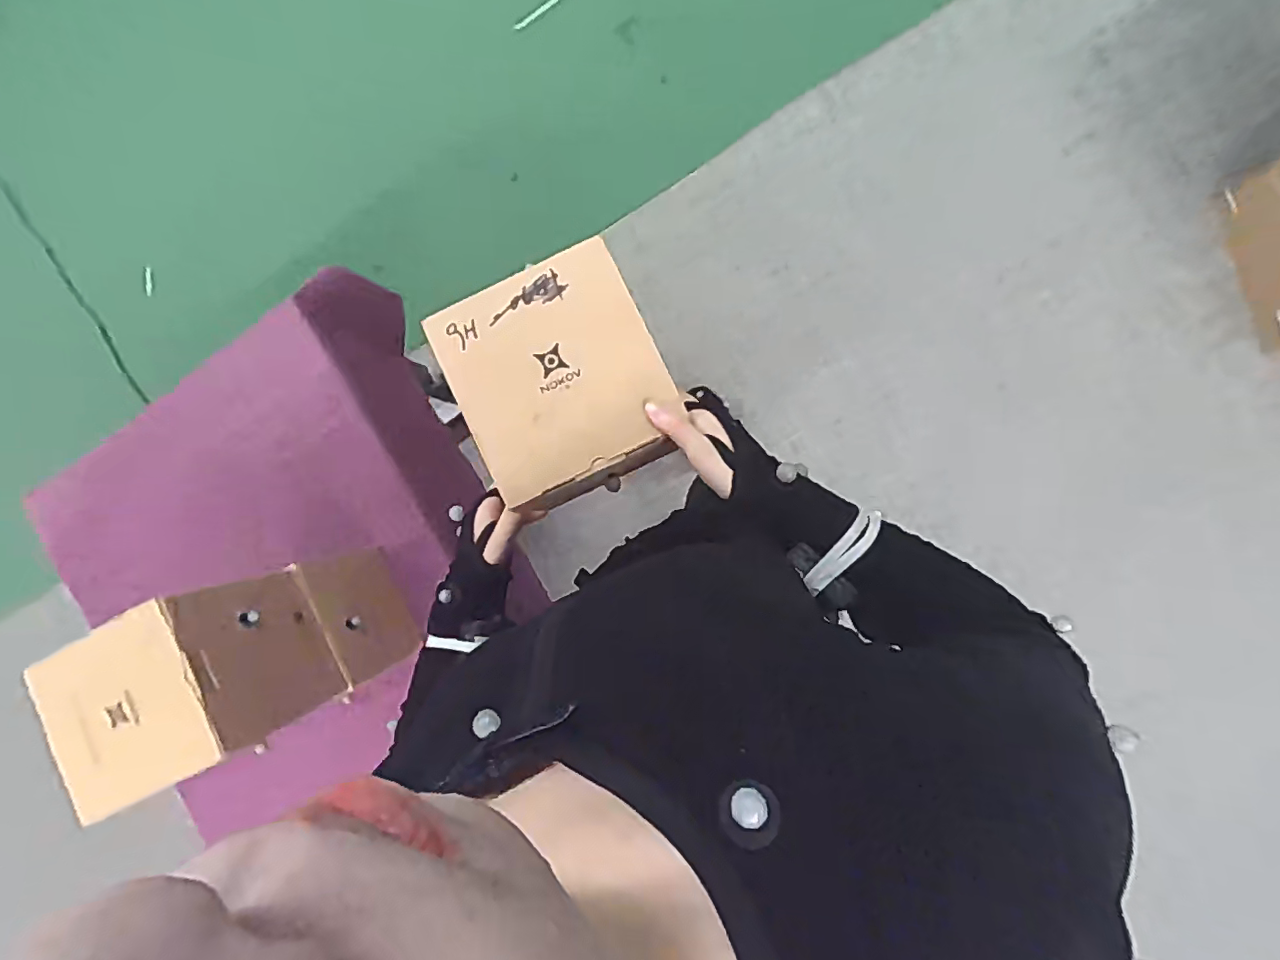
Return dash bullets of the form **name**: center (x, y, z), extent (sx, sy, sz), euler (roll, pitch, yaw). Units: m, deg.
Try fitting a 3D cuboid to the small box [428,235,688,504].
- **small box**: center (-0.064, -0.089, 0.518), extent (0.168, 0.176, 0.179), euler (-24, 88, 1)
